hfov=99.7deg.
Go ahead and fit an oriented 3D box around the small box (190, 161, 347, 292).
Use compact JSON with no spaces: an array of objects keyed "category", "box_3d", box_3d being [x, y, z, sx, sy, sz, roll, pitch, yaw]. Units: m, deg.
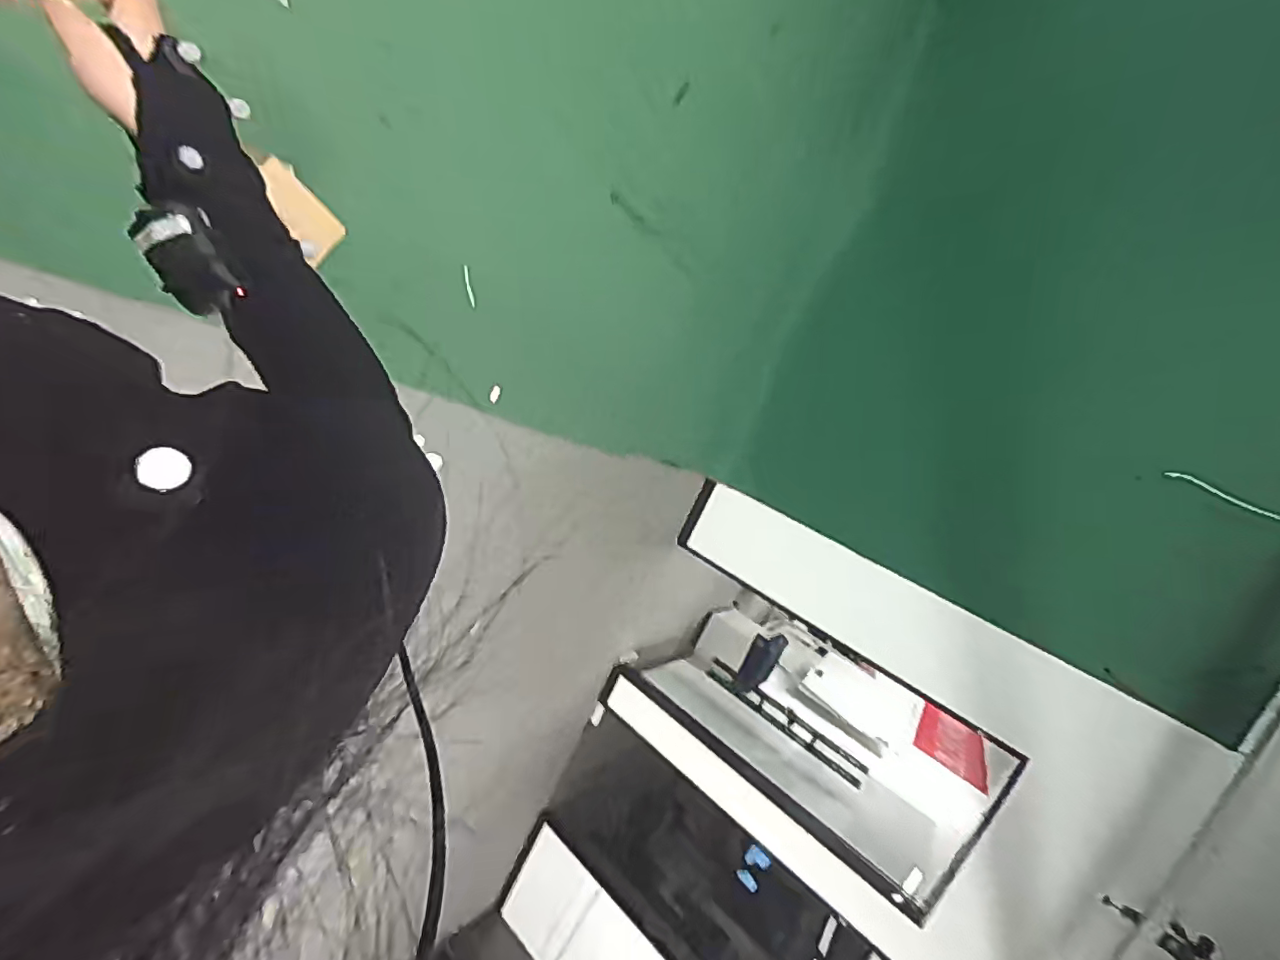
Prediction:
[{"category":"small box","box_3d":[-0.755,-0.519,1.099,0.168,0.176,0.179,-54,149,-10]}]
